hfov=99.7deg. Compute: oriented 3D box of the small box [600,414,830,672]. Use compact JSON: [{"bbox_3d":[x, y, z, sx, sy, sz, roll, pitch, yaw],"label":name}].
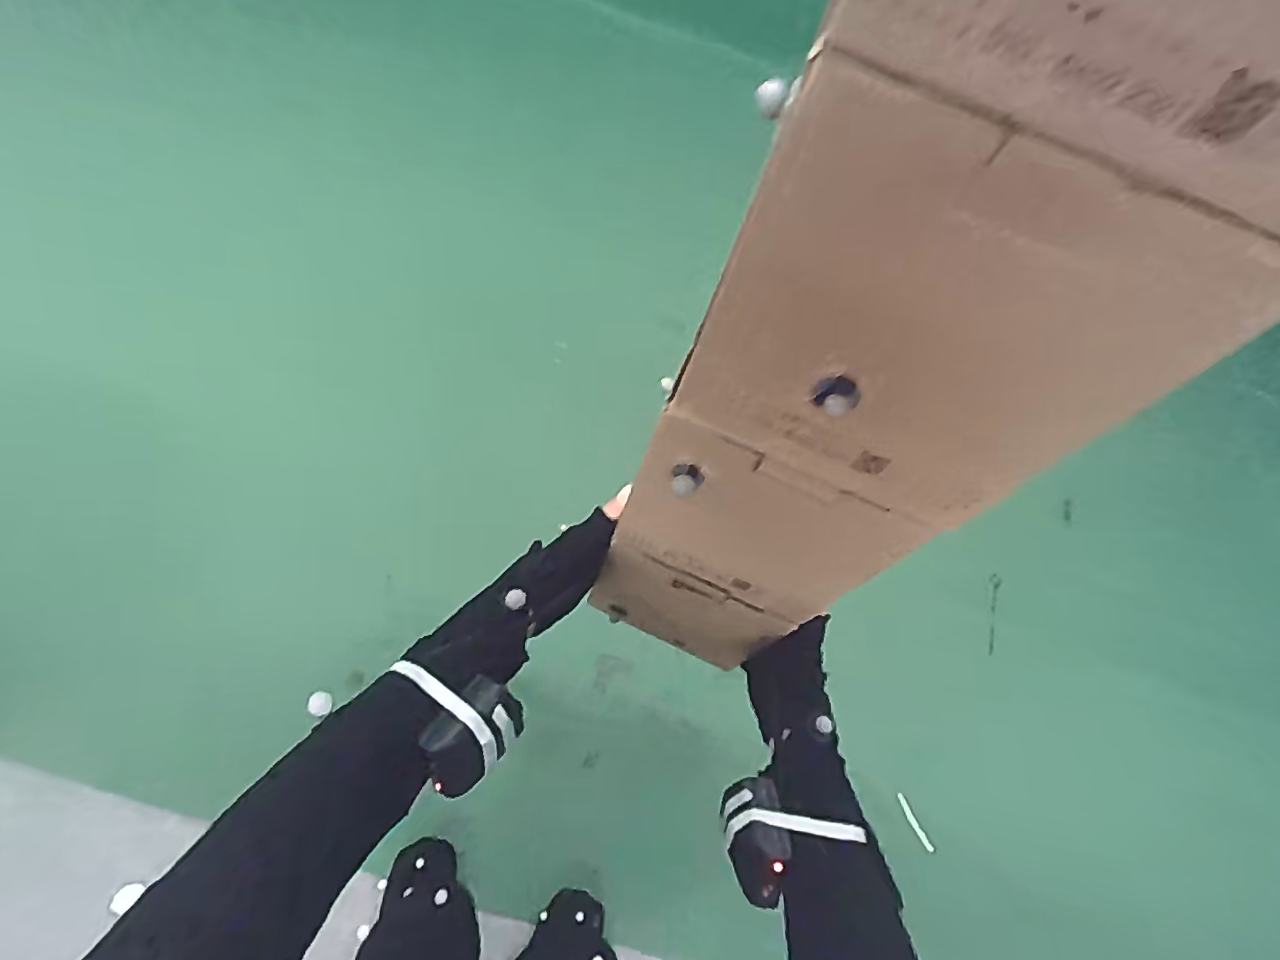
[{"bbox_3d":[0.067,0.072,0.547,0.168,0.176,0.179,23,57,0],"label":"small box"}]
